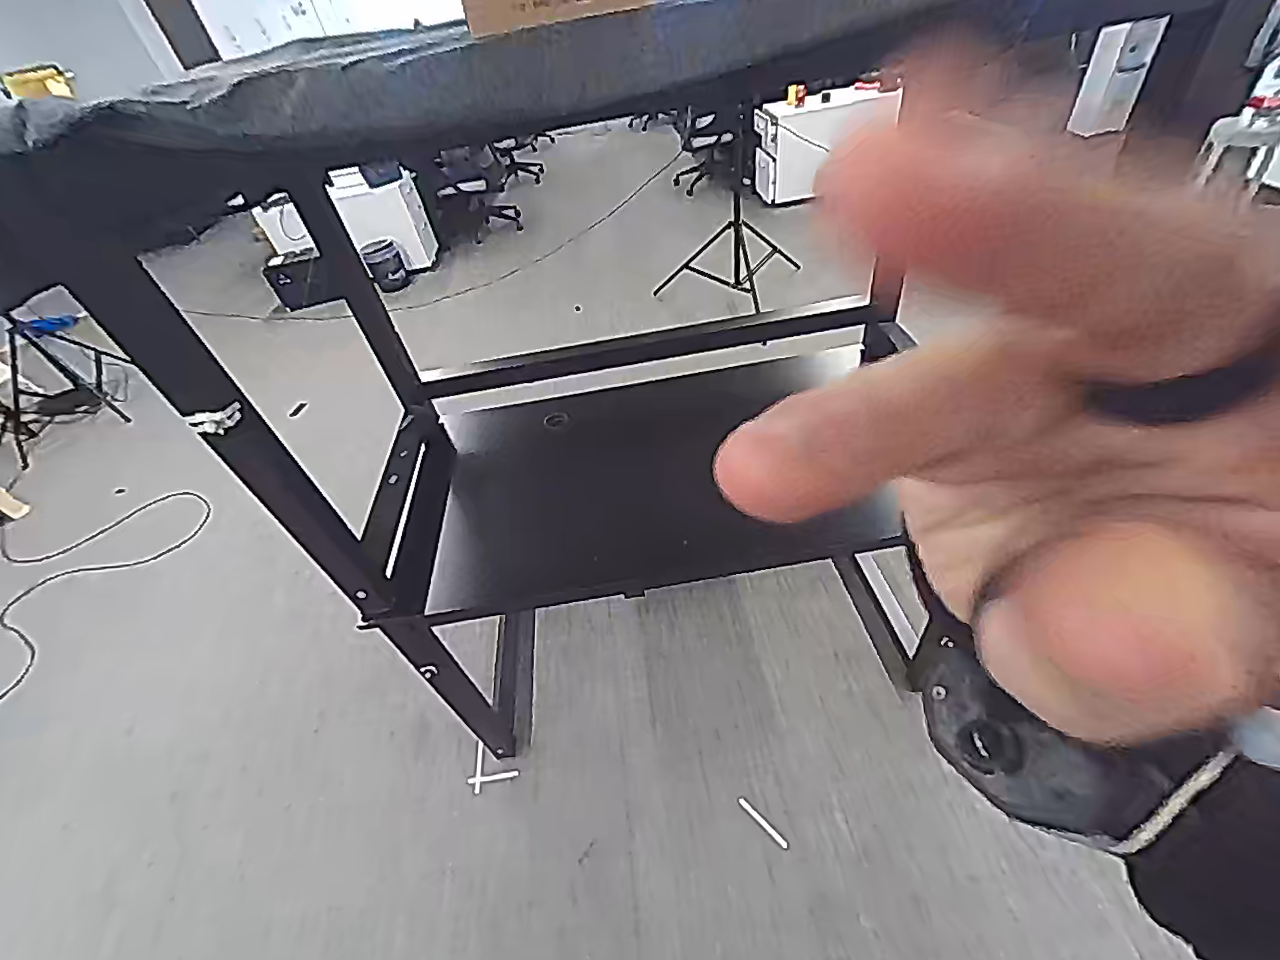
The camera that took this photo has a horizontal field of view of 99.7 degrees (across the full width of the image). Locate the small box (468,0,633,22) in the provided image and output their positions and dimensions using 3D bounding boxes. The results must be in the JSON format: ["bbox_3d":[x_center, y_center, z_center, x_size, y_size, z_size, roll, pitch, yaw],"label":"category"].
[{"bbox_3d":[-0.084,-0.520,0.472,0.168,0.176,0.179,-9,41,2],"label":"small box"}]
